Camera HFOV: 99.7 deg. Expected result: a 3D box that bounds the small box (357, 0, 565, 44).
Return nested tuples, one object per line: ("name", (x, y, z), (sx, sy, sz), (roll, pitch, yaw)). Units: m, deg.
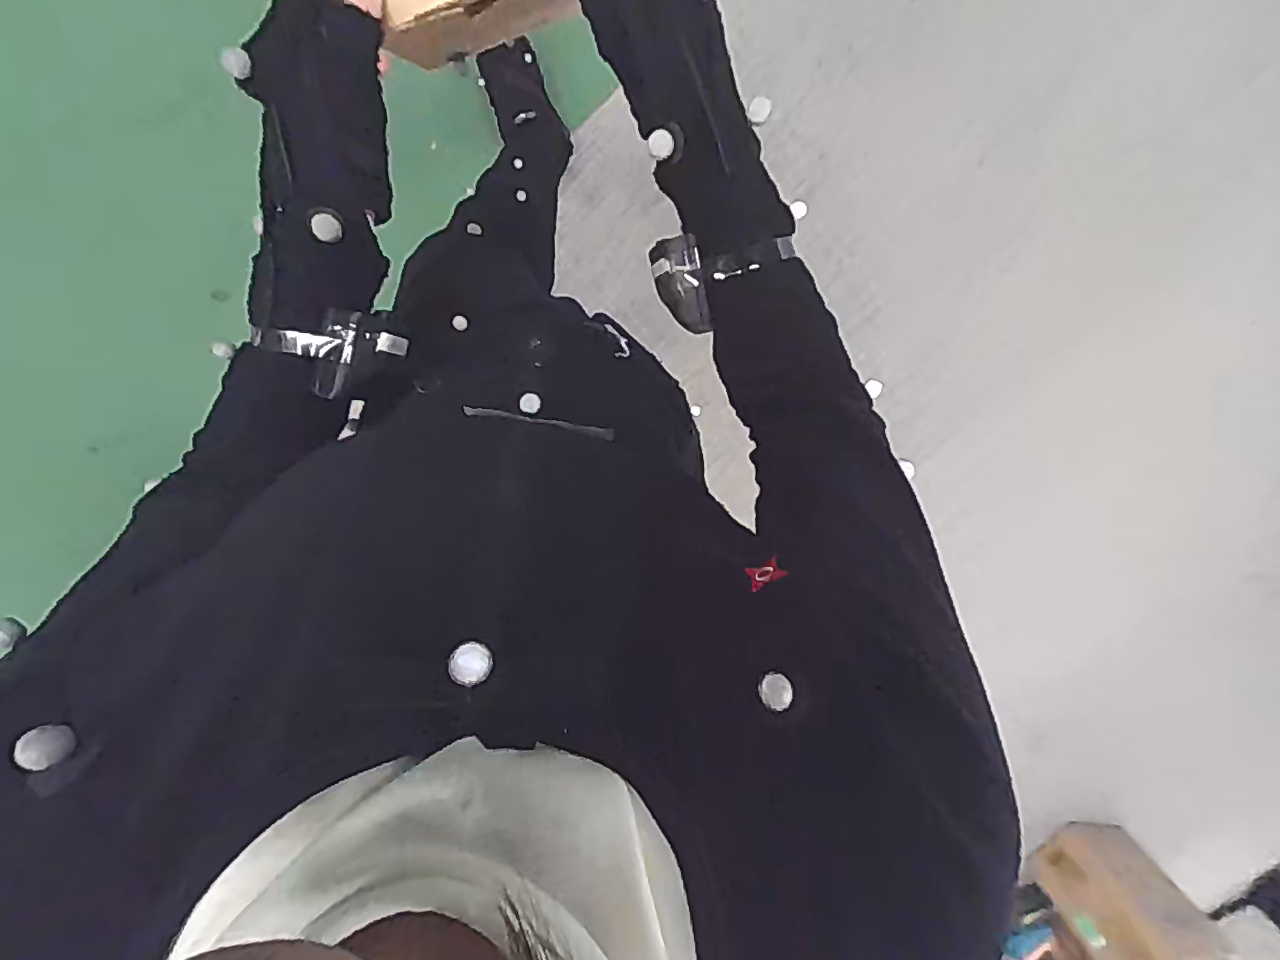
("small box", (-0.117, -0.403, 0.333), (0.168, 0.176, 0.179), (-19, 121, 4))
